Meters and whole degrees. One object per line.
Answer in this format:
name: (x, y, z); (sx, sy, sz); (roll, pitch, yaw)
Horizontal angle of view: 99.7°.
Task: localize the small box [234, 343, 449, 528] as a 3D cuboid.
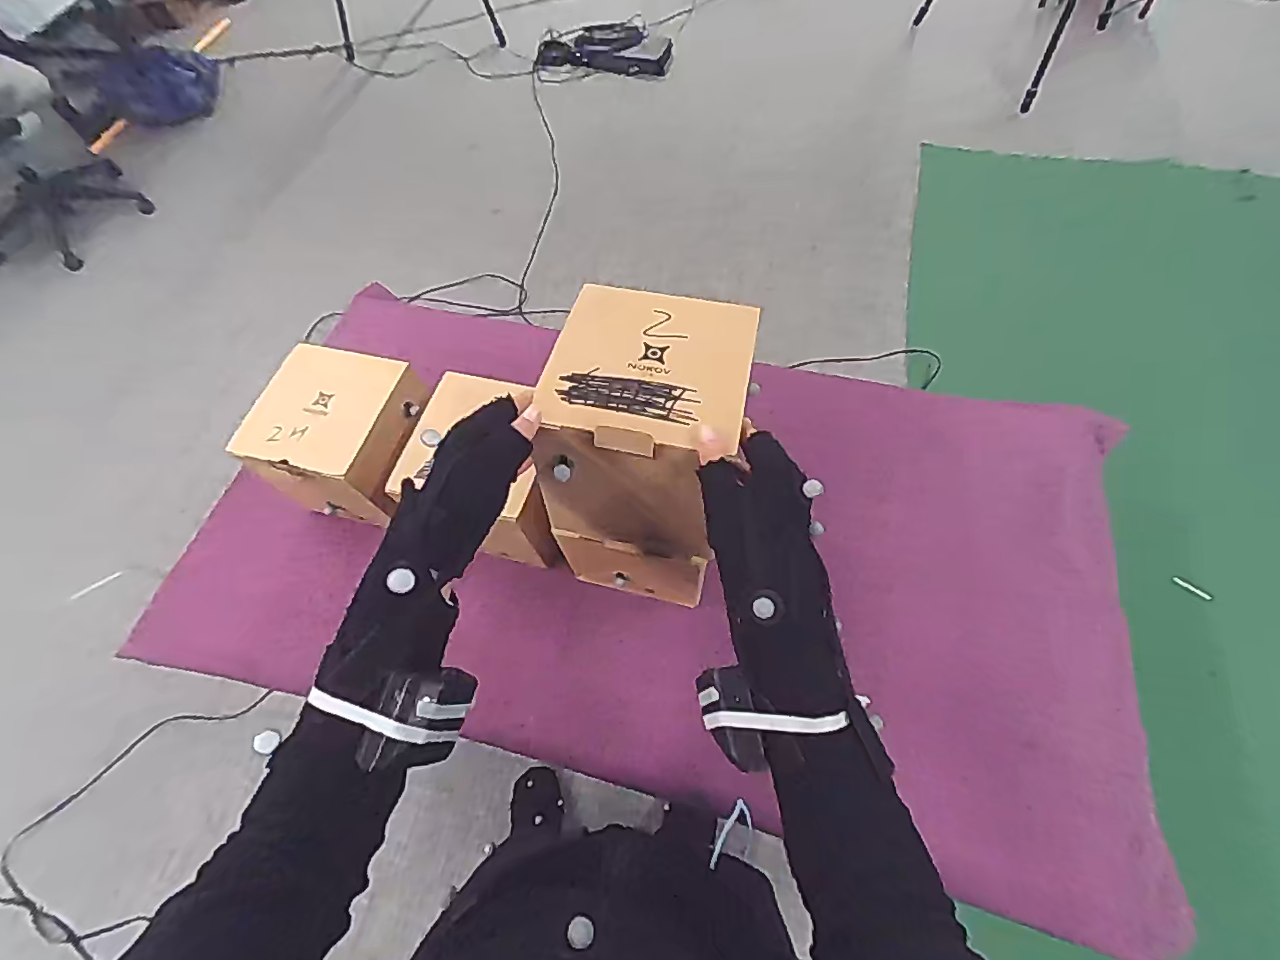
small box: (-0.388, -0.056, 0.746); (0.168, 0.176, 0.179); (12, 64, 10)
